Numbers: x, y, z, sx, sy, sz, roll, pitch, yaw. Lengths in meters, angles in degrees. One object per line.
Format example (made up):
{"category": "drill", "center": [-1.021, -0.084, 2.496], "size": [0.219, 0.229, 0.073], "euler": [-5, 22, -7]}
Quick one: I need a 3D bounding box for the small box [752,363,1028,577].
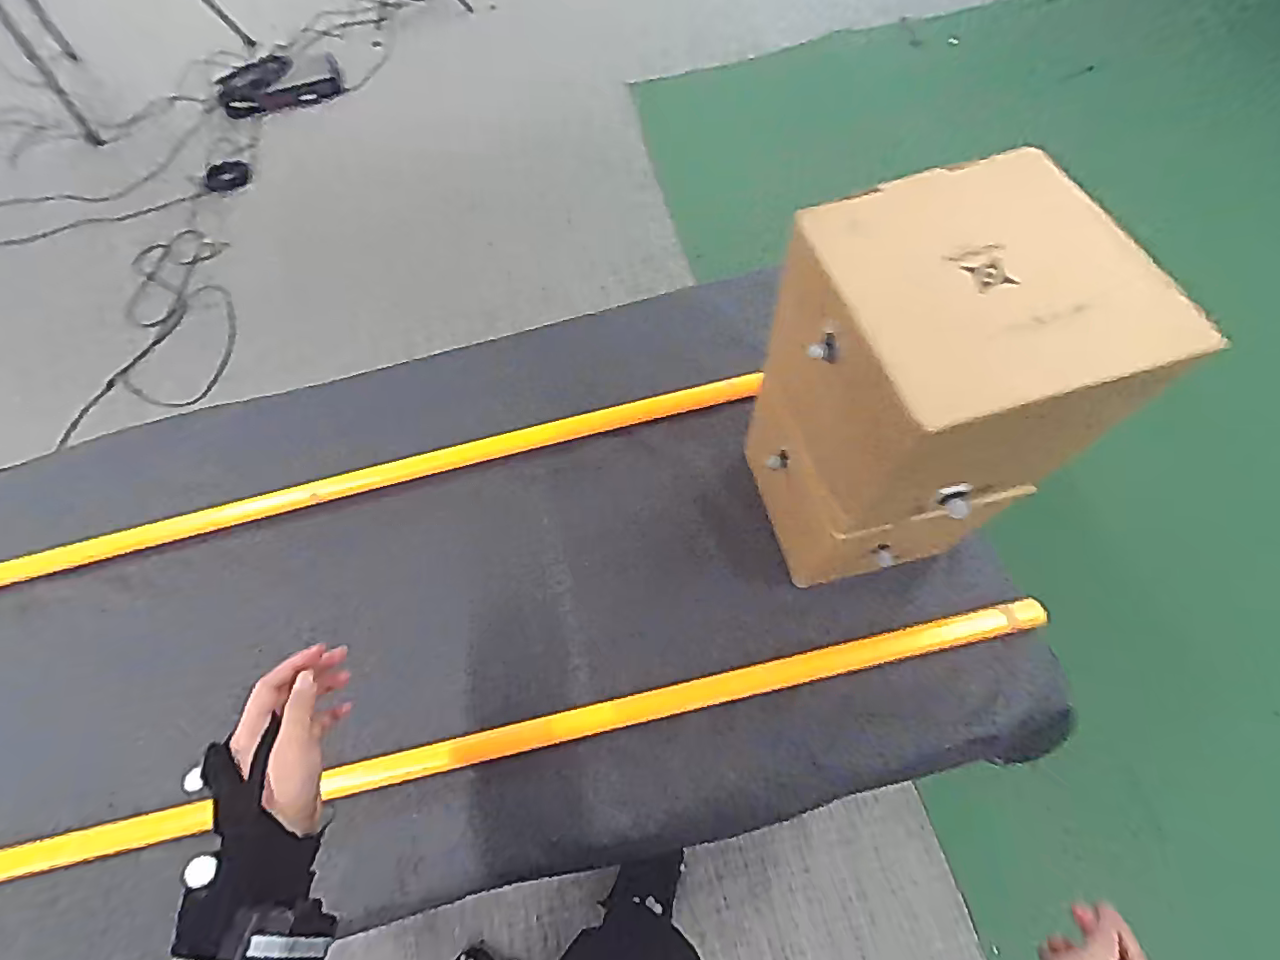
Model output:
{"category": "small box", "center": [0.218, -0.015, 0.532], "size": [0.168, 0.176, 0.179], "euler": [-14, 64, -1]}

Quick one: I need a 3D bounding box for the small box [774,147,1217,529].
{"category": "small box", "center": [0.208, -0.088, 0.386], "size": [0.168, 0.176, 0.179], "euler": [-17, 65, -1]}
